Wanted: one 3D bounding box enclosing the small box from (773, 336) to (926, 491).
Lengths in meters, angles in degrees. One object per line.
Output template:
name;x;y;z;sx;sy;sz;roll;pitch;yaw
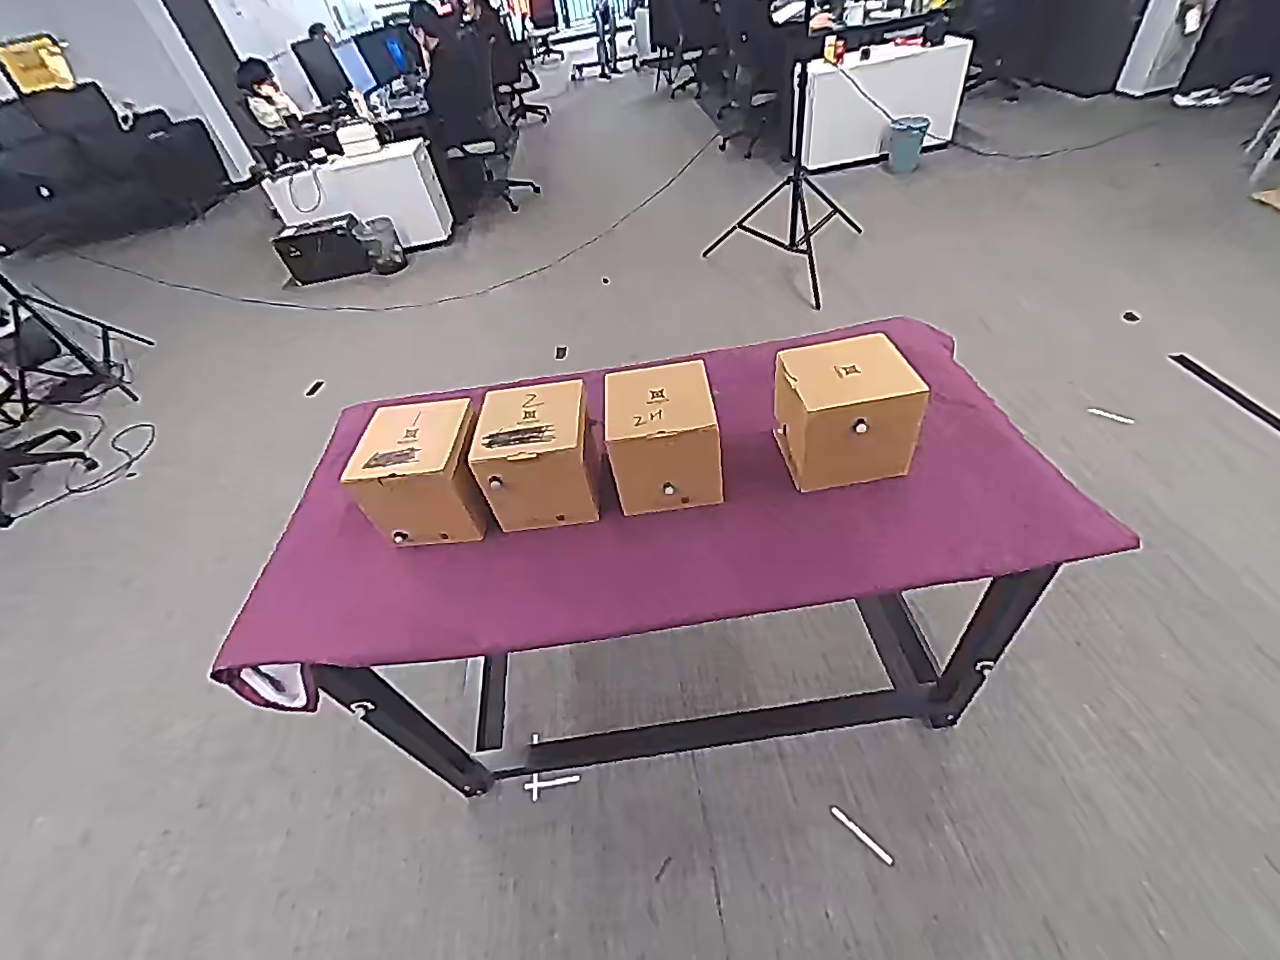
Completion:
small box;0.322;-0.104;0.870;0.179;0.176;0.168;-10;43;2
